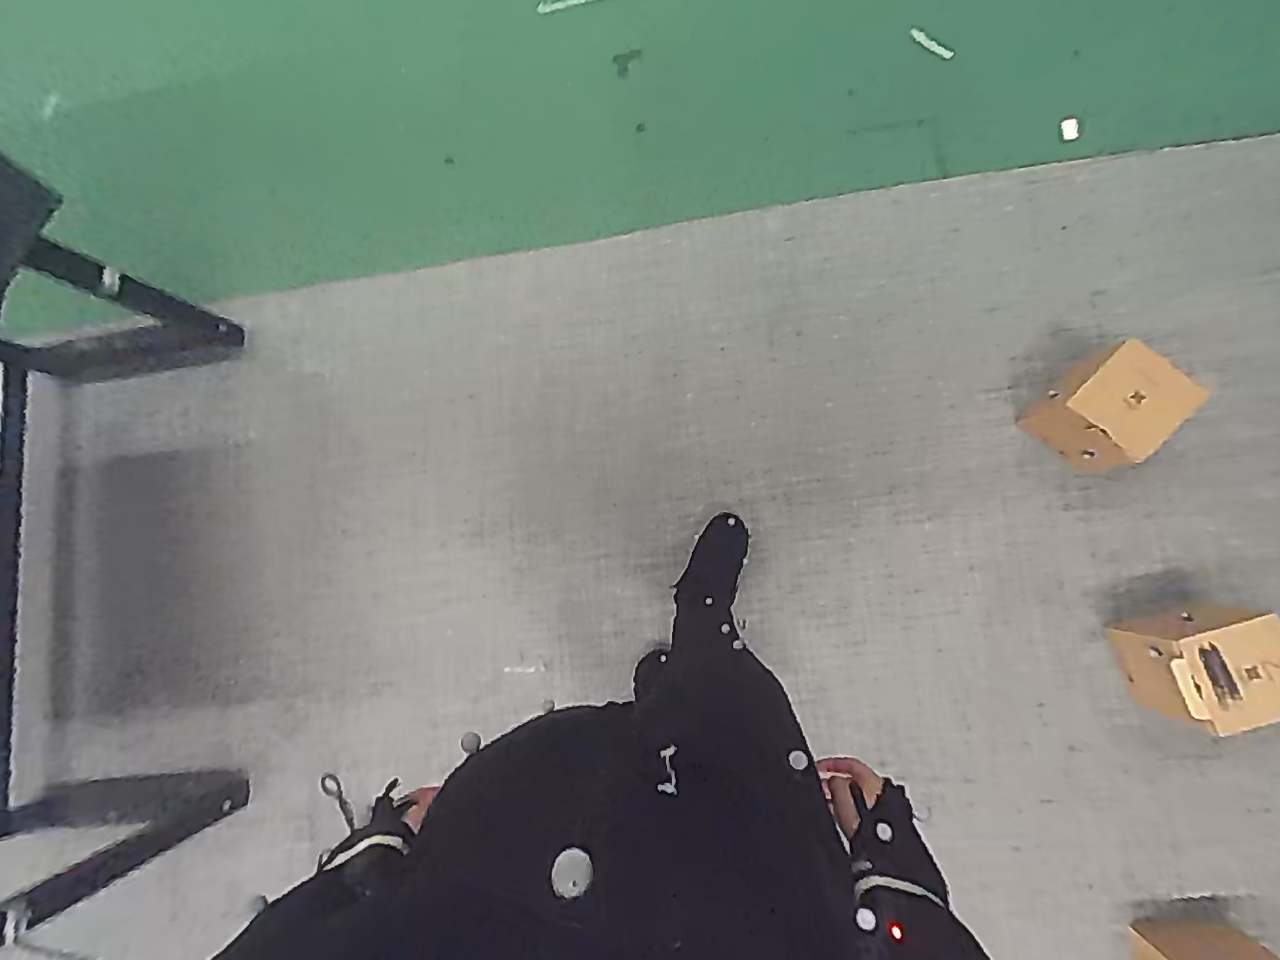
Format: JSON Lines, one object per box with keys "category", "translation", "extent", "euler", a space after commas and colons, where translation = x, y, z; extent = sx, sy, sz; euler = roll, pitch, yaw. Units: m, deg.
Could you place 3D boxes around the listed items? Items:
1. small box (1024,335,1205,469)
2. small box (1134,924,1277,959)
{"category": "small box", "translation": [0.900, -0.140, 1.052], "extent": [0.168, 0.176, 0.179], "euler": [44, 89, 8]}
{"category": "small box", "translation": [1.010, 0.898, 0.919], "extent": [0.179, 0.176, 0.168], "euler": [-8, 83, 7]}
